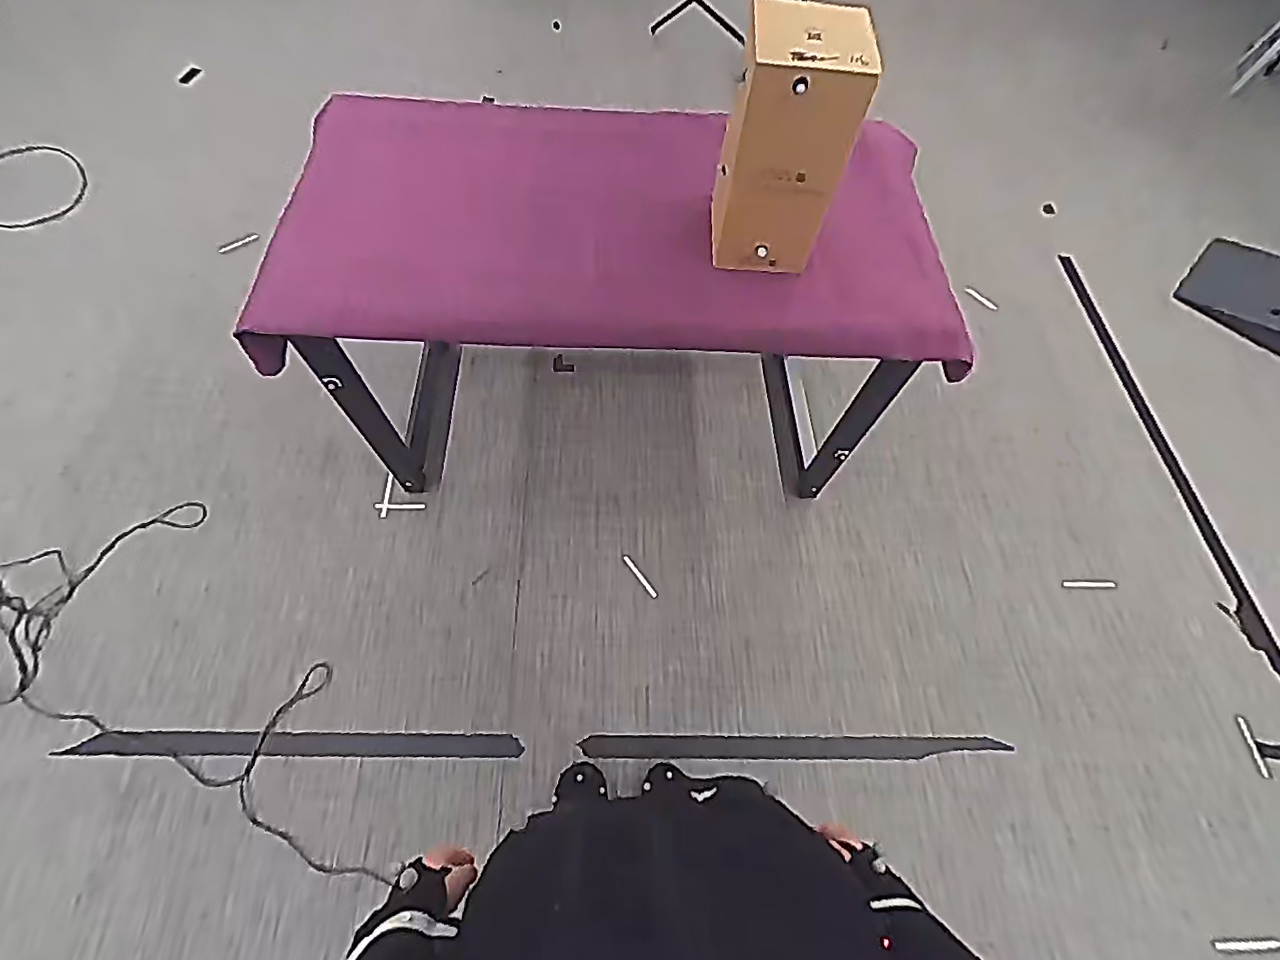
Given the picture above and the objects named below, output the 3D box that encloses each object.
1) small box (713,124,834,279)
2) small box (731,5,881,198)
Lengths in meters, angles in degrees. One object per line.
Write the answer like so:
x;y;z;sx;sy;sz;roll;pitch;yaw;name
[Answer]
0.222;-0.486;0.950;0.168;0.176;0.179;3;63;-1;small box
0.231;-0.556;0.802;0.168;0.176;0.179;5;62;0;small box
